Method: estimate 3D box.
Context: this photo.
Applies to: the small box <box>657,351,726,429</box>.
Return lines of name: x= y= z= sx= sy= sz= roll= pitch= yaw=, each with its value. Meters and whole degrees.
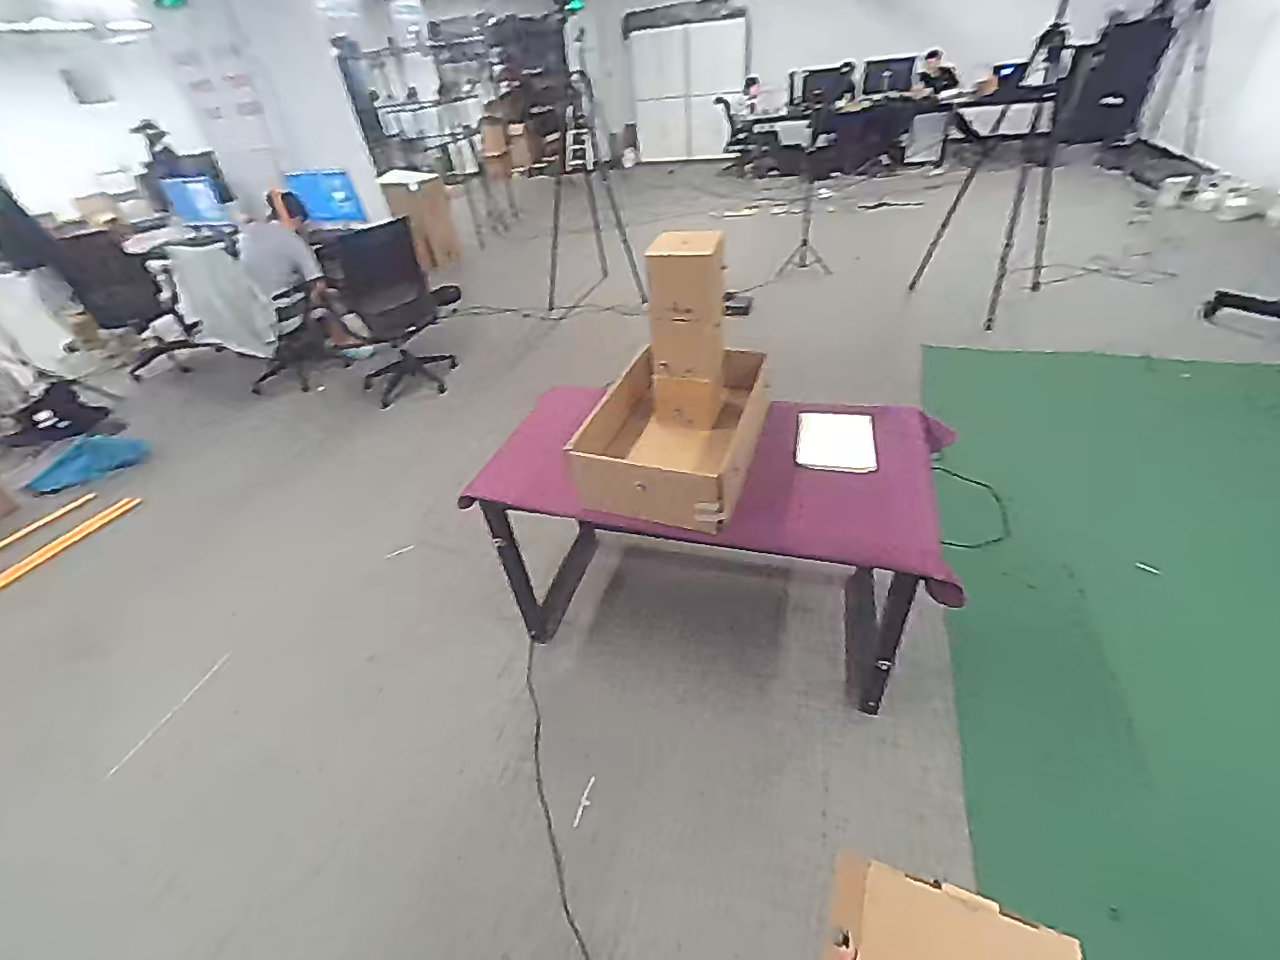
small box: x=0.155 y=-0.273 z=1.592 sx=0.168 sy=0.176 sz=0.179 roll=8 pitch=43 yaw=17

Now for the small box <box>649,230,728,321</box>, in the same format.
small box: x=0.128 y=-0.526 z=1.387 sx=0.168 sy=0.176 sz=0.179 roll=7 pitch=43 yaw=17

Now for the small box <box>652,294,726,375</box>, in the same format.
small box: x=0.142 y=-0.403 z=1.492 sx=0.168 sy=0.176 sz=0.179 roll=8 pitch=42 yaw=16
